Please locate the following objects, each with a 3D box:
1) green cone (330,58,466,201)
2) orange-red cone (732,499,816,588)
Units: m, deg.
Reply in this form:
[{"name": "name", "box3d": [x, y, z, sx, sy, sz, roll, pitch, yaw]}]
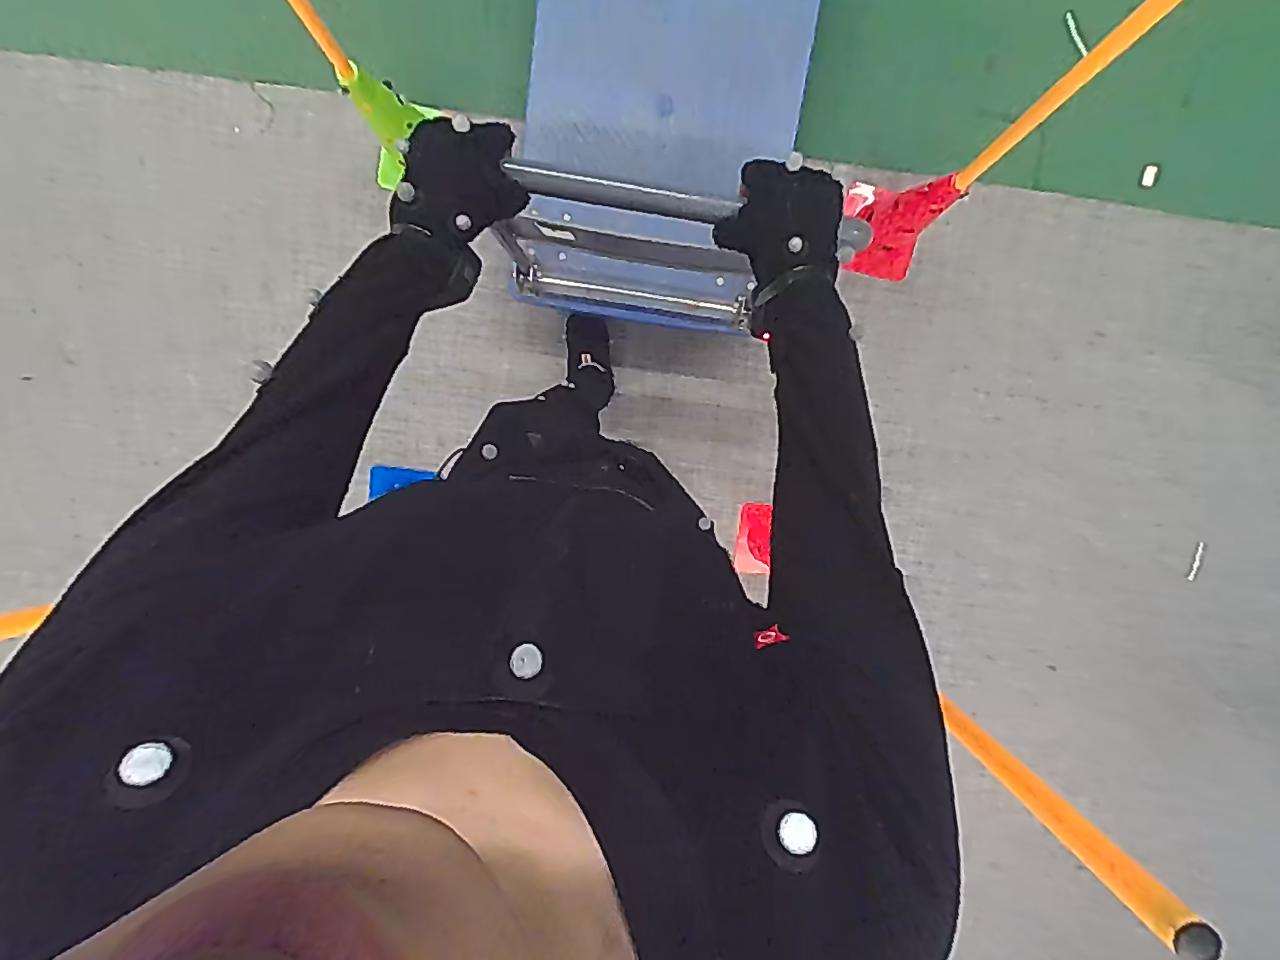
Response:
[{"name": "green cone", "box3d": [-0.530, -0.769, 1.143, 0.202, 0.368, 0.200, 12, 100, -2]}, {"name": "orange-red cone", "box3d": [0.361, 0.186, 1.331, 0.199, 0.360, 0.198, 7, 100, 0]}]
